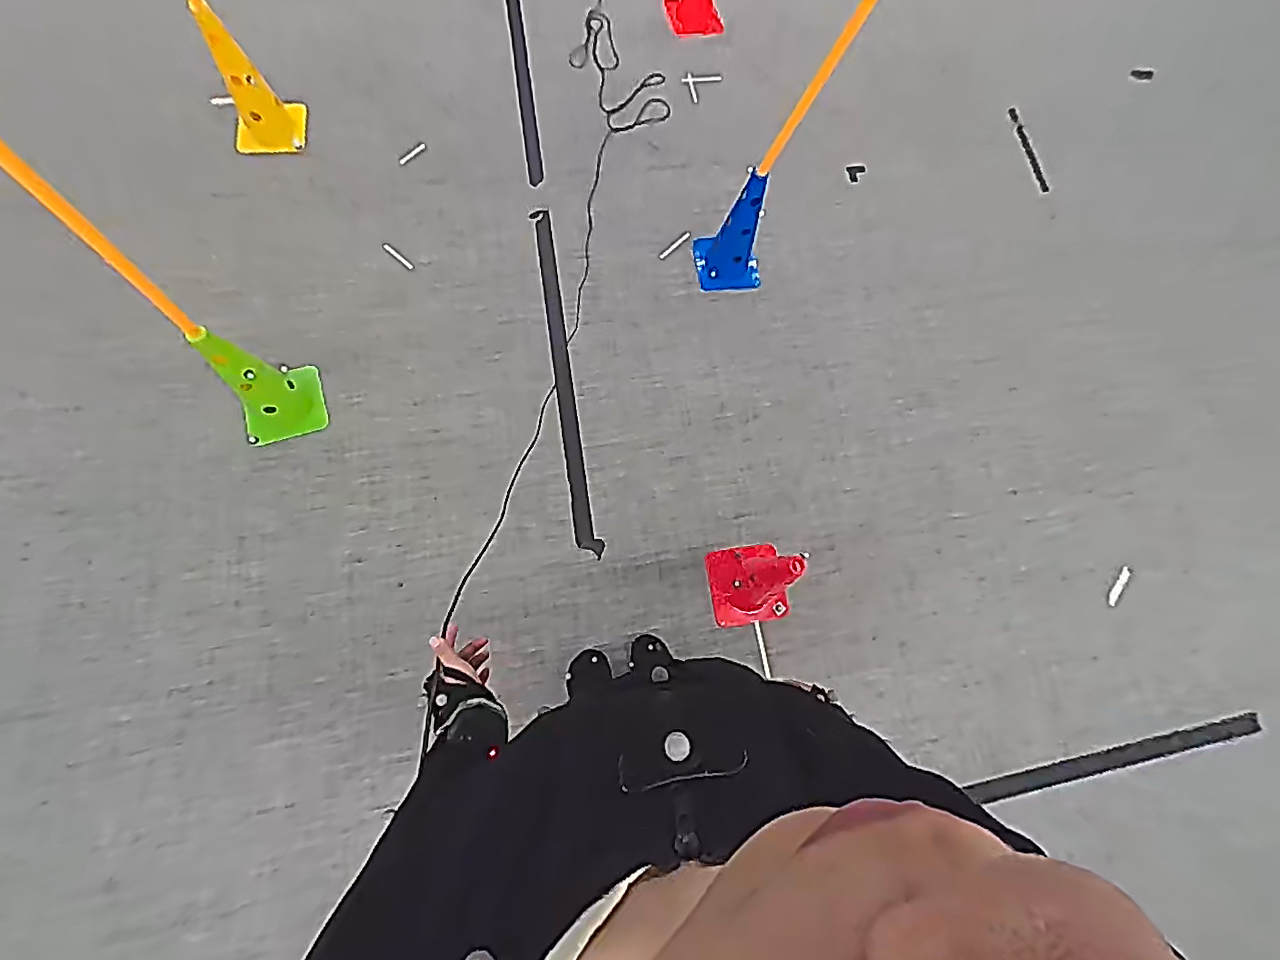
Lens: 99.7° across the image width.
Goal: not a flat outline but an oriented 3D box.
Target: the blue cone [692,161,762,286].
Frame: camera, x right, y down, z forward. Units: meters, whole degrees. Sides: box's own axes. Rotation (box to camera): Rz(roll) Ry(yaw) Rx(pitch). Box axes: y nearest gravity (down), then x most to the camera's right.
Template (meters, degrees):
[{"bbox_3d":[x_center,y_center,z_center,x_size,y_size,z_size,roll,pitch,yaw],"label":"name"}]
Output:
[{"bbox_3d":[0.289,-0.759,1.593,0.193,0.380,0.192,-5,73,-8],"label":"blue cone"}]

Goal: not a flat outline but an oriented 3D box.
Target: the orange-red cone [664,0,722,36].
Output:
[{"bbox_3d":[0.216,-1.824,1.902,0.199,0.360,0.198,-13,74,-8],"label":"orange-red cone"}]

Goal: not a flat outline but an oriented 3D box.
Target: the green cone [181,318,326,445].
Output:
[{"bbox_3d":[-0.947,-0.260,1.294,0.200,0.368,0.202,-18,74,-11],"label":"green cone"}]
